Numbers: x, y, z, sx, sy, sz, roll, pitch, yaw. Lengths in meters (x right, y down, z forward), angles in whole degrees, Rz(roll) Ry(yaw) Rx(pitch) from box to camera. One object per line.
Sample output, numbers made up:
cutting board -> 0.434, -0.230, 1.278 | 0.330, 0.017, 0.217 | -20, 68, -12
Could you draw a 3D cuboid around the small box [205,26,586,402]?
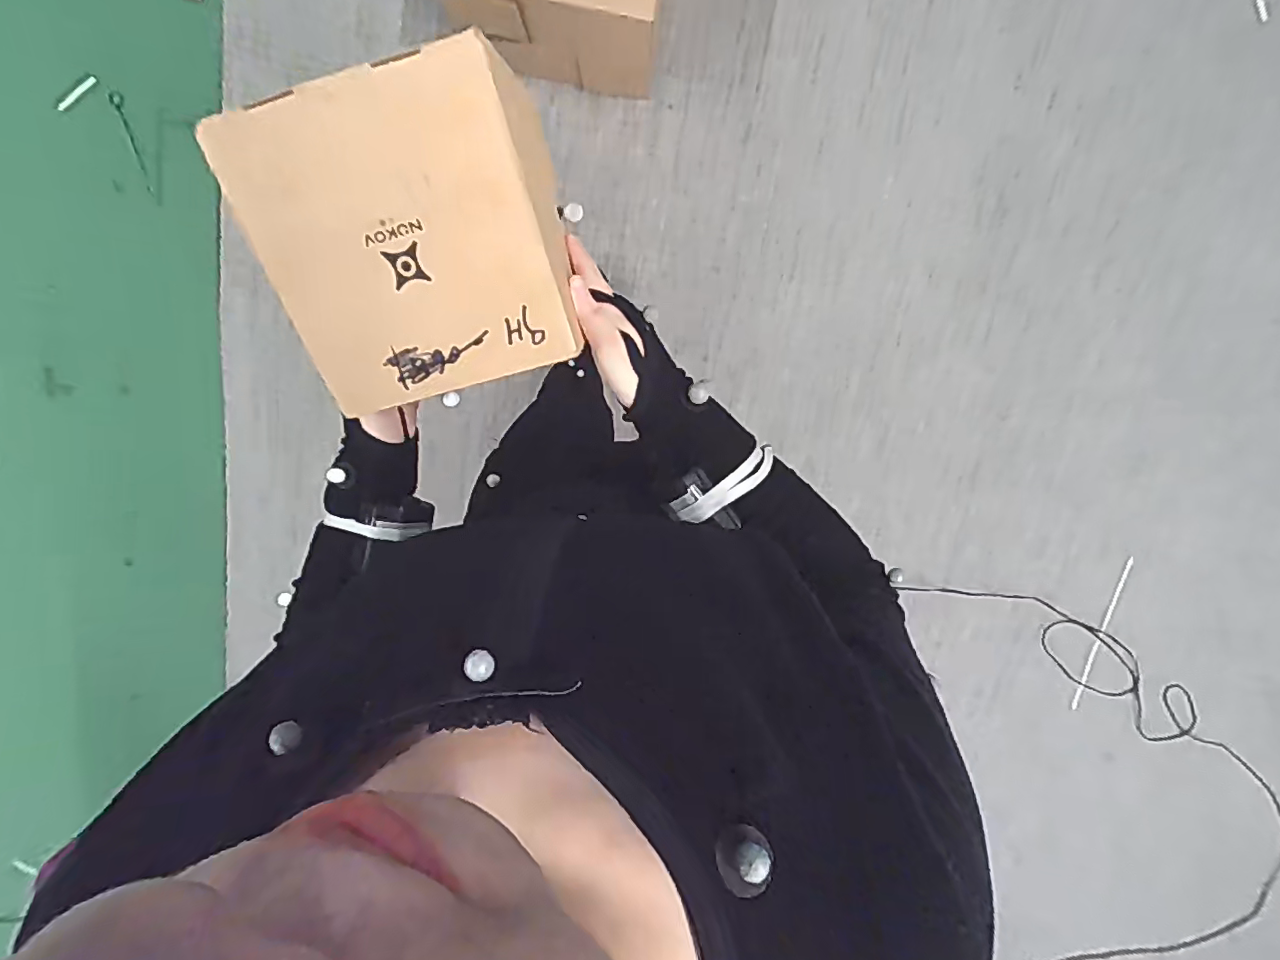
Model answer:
small box -> -0.144, -0.177, 0.396 | 0.168, 0.176, 0.179 | -13, 114, 5
